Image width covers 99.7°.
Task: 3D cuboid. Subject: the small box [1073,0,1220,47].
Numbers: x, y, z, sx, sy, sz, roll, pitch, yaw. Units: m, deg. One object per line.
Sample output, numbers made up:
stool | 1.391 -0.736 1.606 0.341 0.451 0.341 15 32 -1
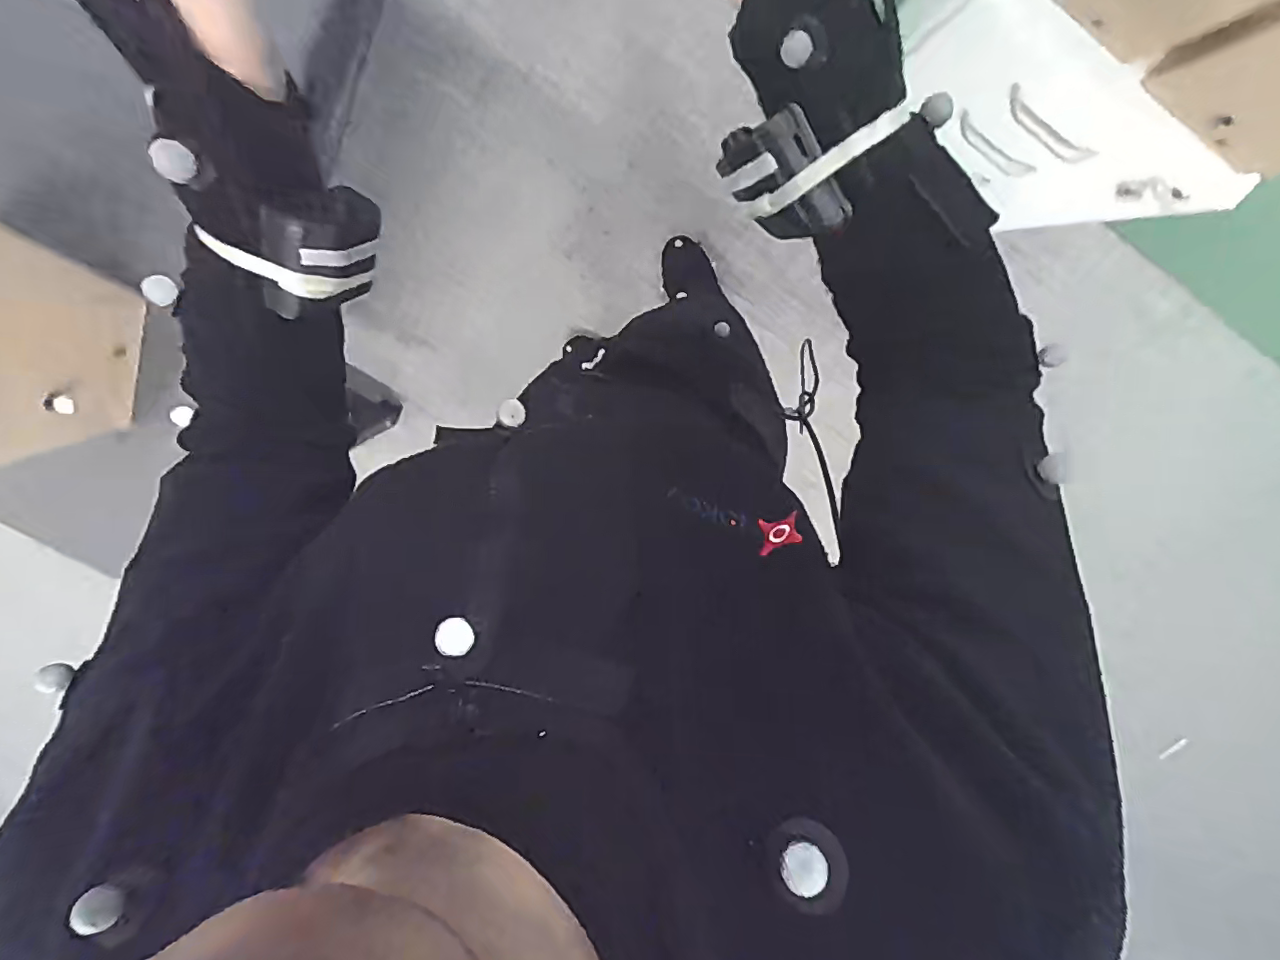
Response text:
small box | 0.477 -0.520 0.450 0.168 0.176 0.179 31 109 -10

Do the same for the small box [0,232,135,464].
small box | -0.653 -0.138 0.526 0.179 0.176 0.168 26 111 -7
